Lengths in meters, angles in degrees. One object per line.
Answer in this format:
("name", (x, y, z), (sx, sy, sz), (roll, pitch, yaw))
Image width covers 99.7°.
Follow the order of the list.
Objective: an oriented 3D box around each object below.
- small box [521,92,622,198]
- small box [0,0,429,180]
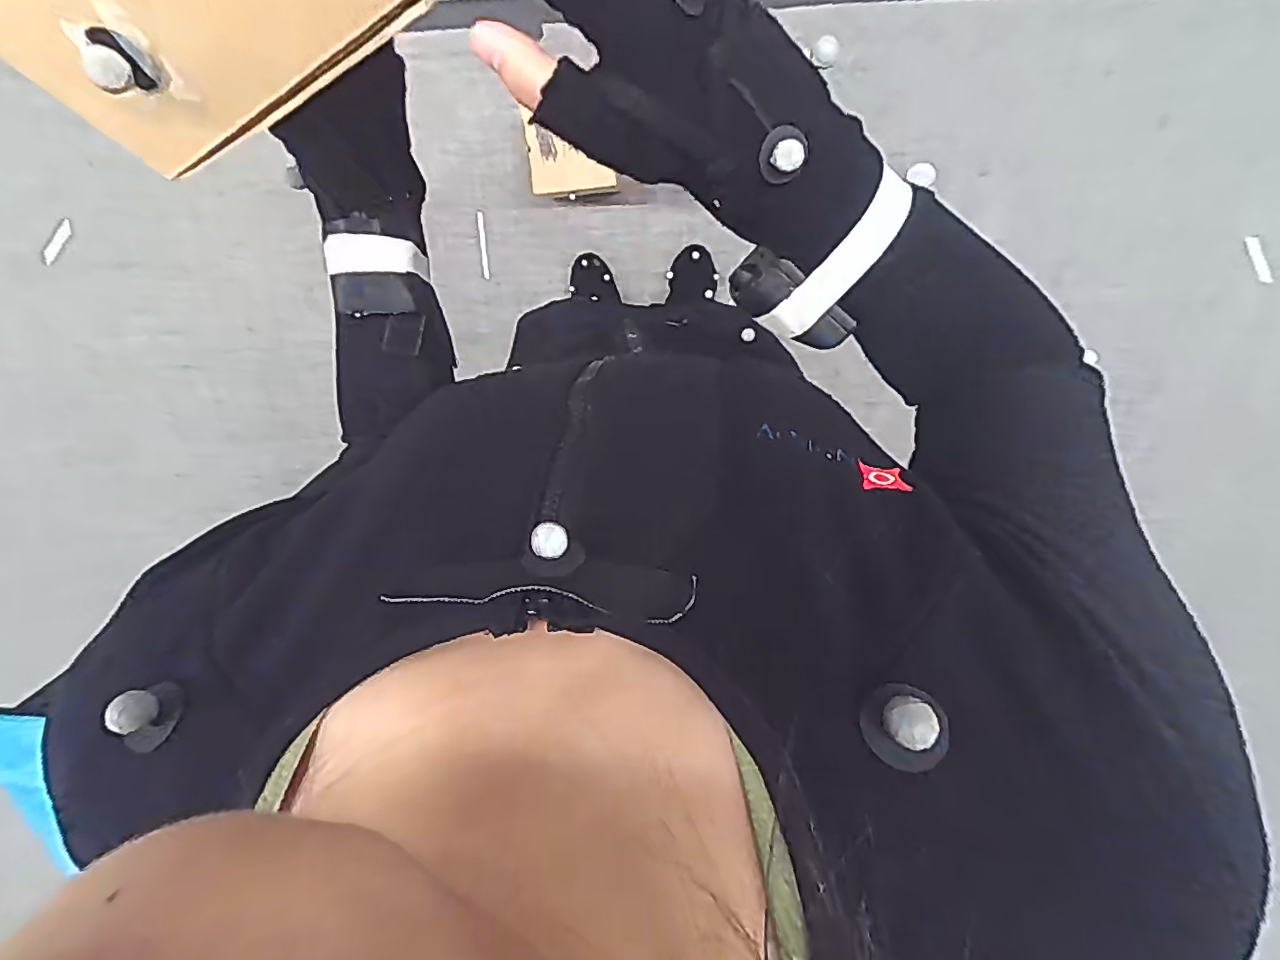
("small box", (-0.138, -0.707, 1.159), (0.179, 0.176, 0.168), (-4, 115, 4))
("small box", (-0.185, -0.264, 0.199), (0.179, 0.168, 0.176), (-11, 153, 25))
